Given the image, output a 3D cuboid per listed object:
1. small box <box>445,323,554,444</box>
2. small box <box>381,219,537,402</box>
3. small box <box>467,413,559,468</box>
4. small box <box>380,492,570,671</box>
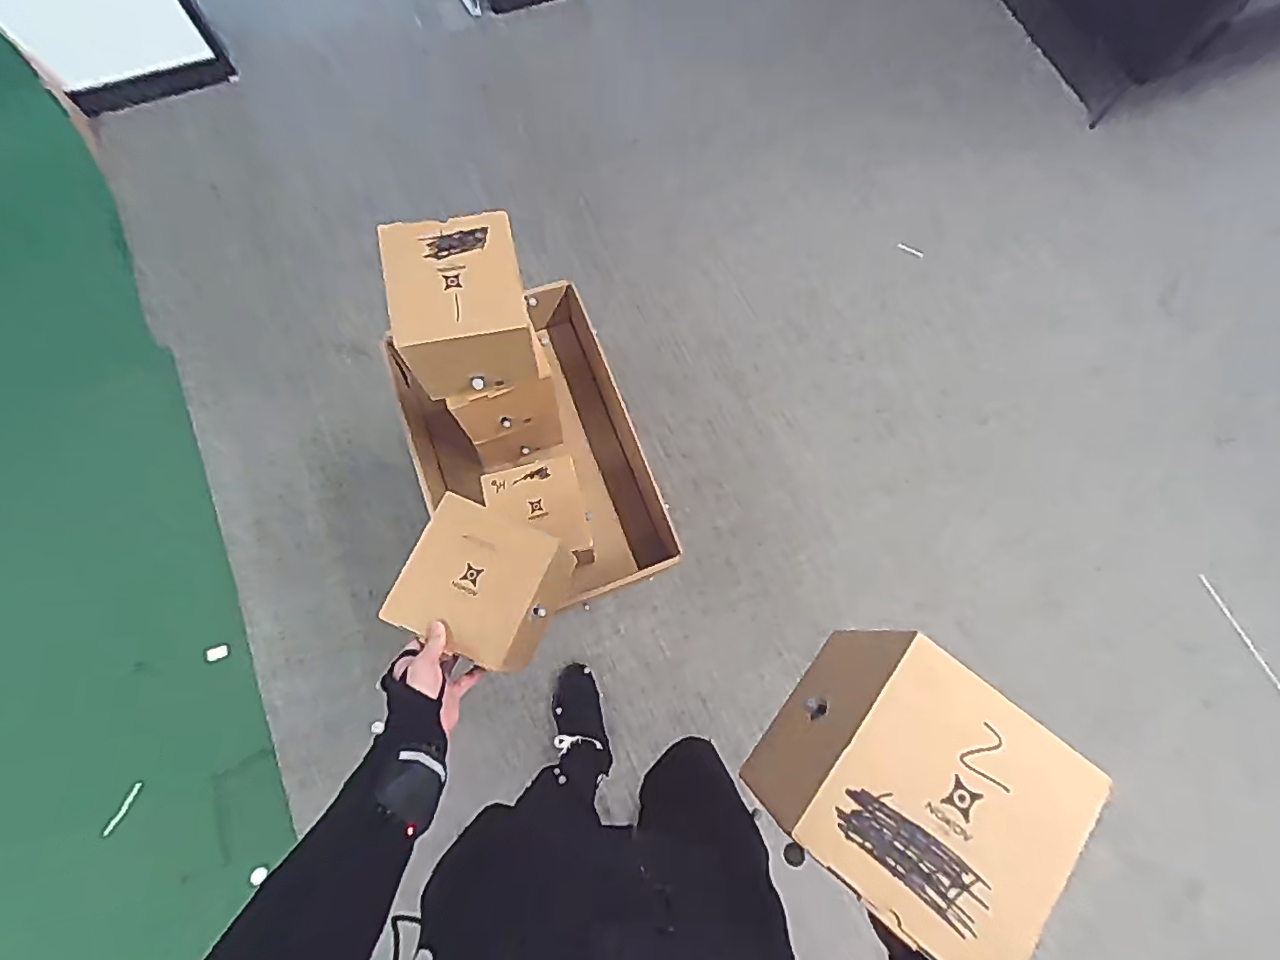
[{"bbox_3d":[-0.253,-0.185,0.919,0.168,0.176,0.179,-21,79,-11],"label":"small box"},{"bbox_3d":[-0.244,-0.230,0.761,0.168,0.176,0.179,-11,78,-8],"label":"small box"},{"bbox_3d":[-0.268,-0.146,1.076,0.168,0.176,0.179,-20,78,-10],"label":"small box"},{"bbox_3d":[-0.208,0.144,0.744,0.168,0.176,0.179,22,74,7],"label":"small box"}]
